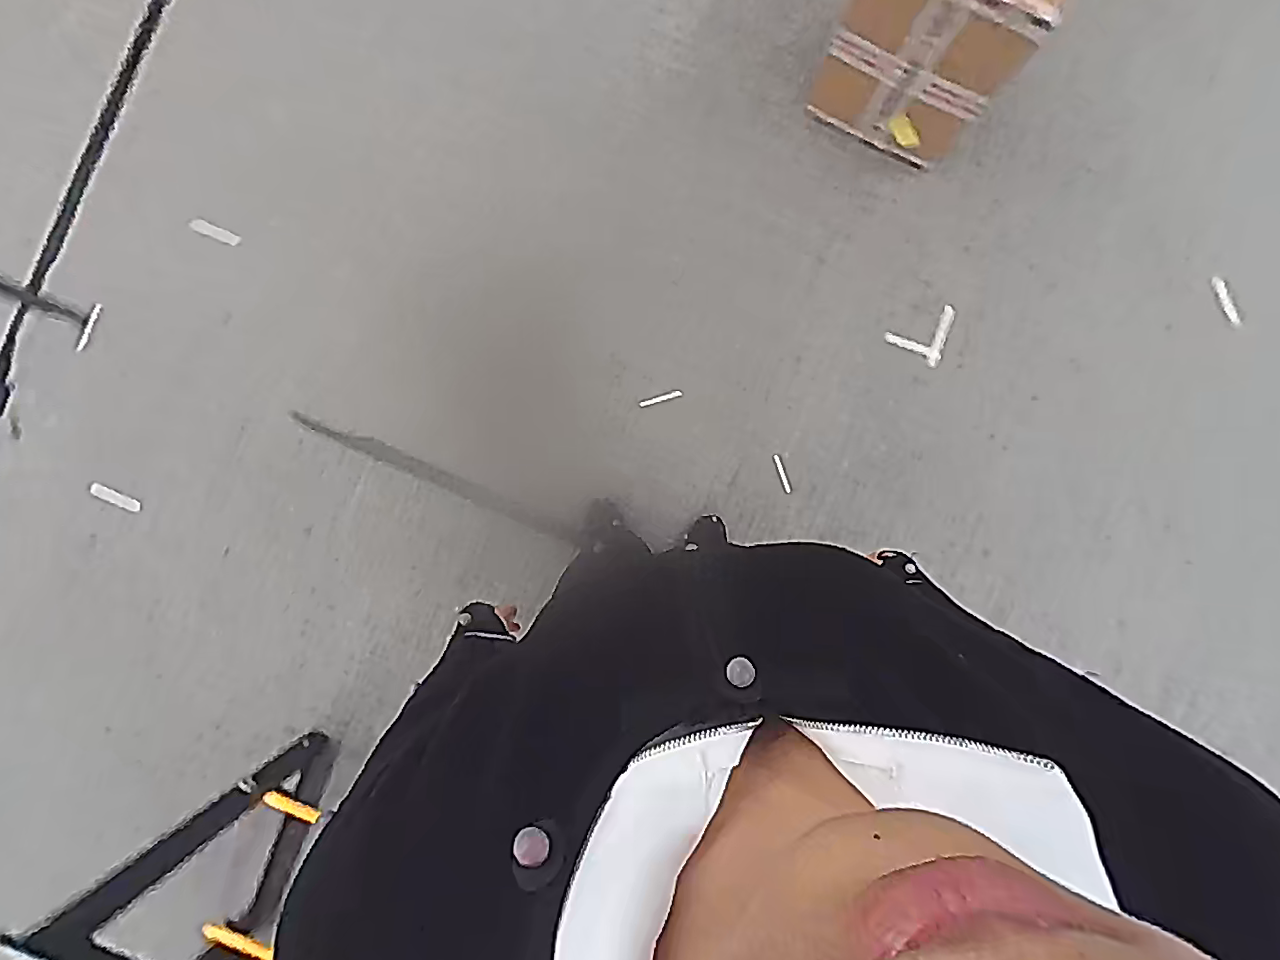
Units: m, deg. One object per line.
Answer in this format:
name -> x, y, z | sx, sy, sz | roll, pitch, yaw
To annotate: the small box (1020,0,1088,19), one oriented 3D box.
small box -> 0.799, -1.002, 0.981 | 0.179, 0.176, 0.168 | 26, 90, 0
